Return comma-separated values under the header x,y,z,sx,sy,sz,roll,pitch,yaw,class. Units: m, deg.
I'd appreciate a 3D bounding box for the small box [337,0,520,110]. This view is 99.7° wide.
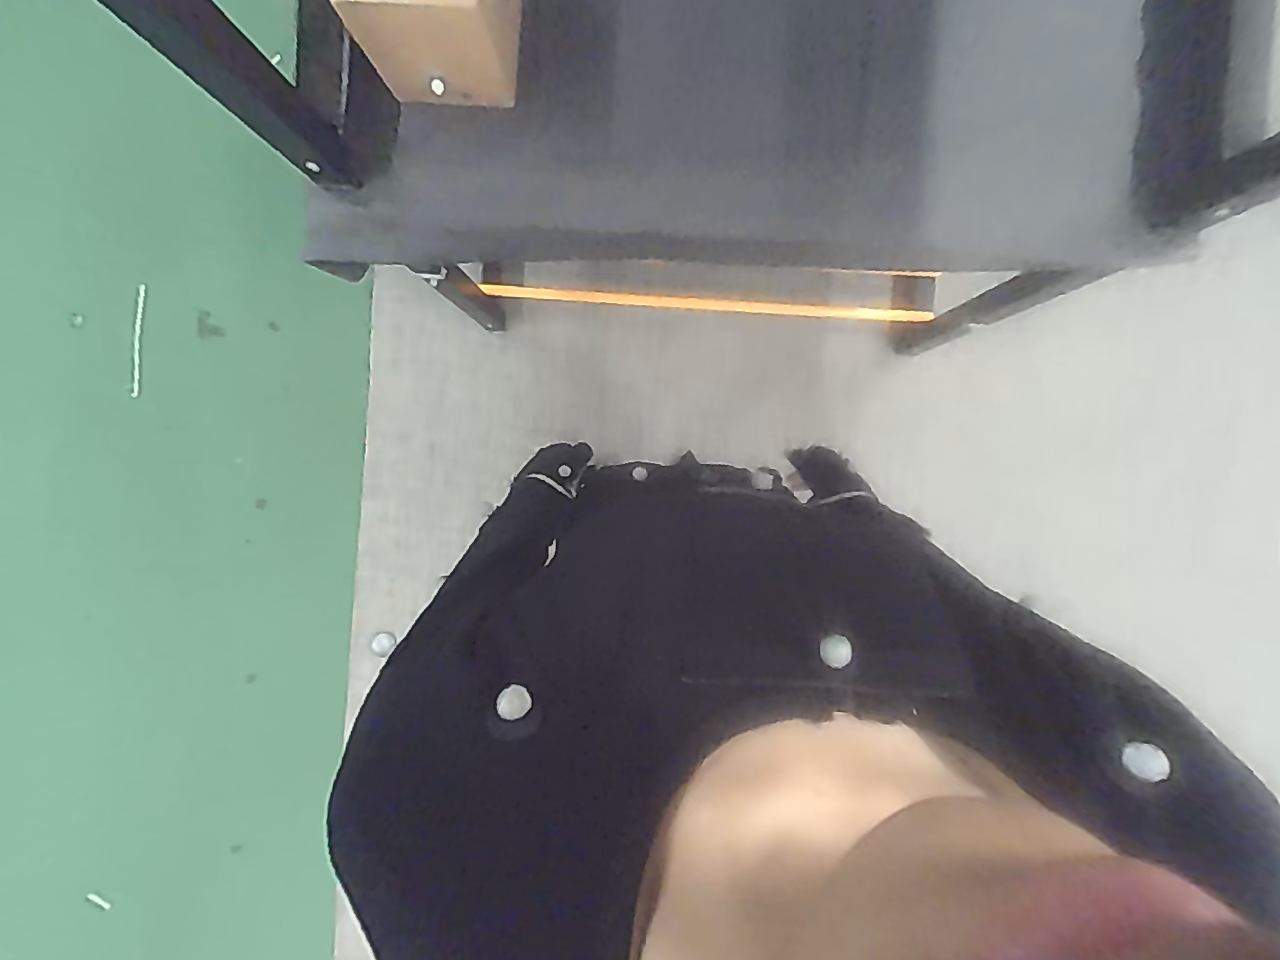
x,y,z,sx,sy,sz,roll,pitch,yaw,class
-0.250,-0.605,0.668,0.168,0.176,0.179,4,92,1,small box
